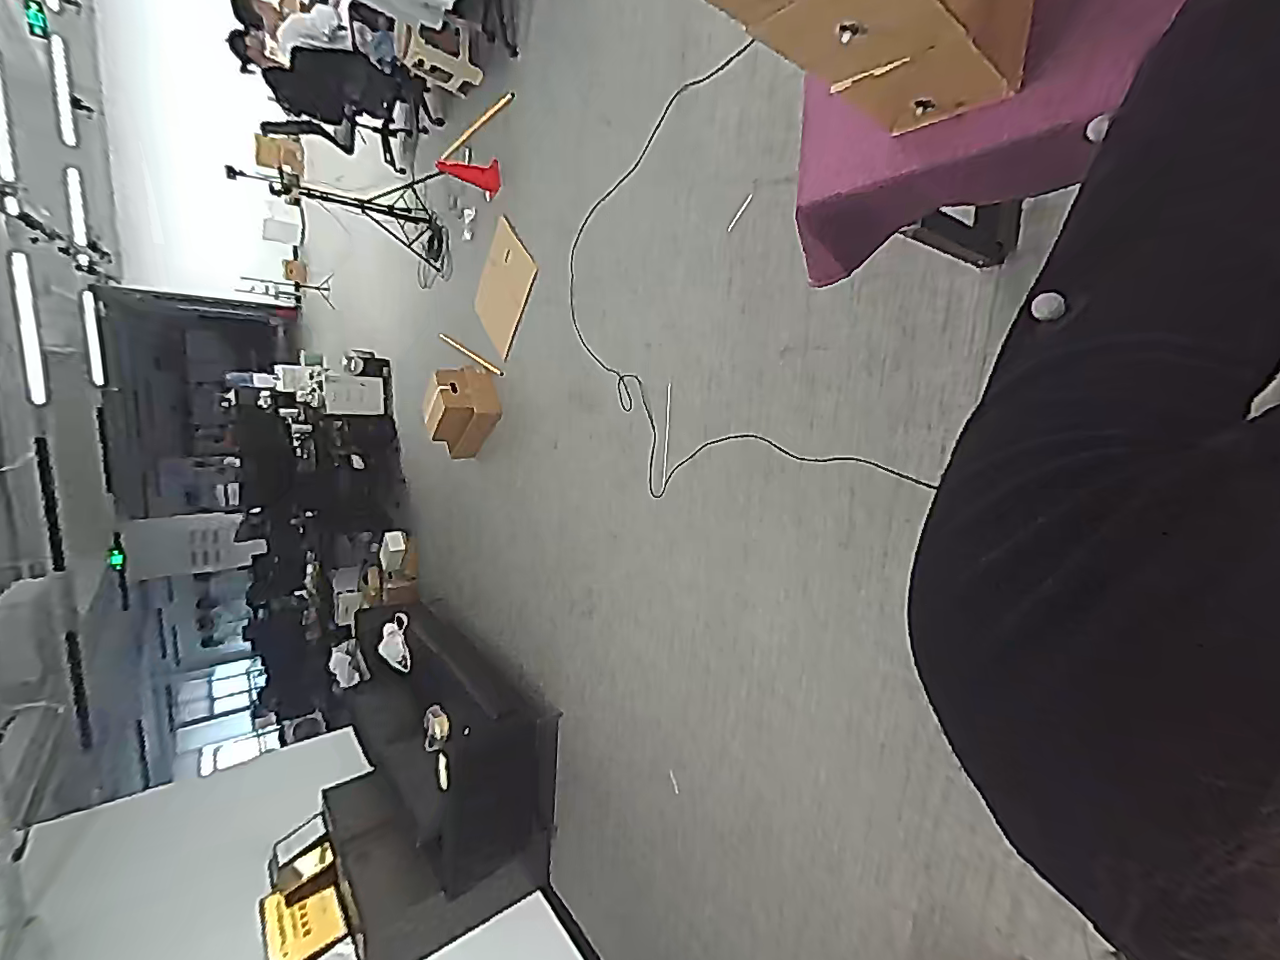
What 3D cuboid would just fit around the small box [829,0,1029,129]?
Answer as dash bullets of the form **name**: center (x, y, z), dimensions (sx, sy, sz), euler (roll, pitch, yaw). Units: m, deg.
- **small box**: center (0.364, -0.584, 0.678), dimensions (0.168, 0.176, 0.179), euler (14, 105, 50)
